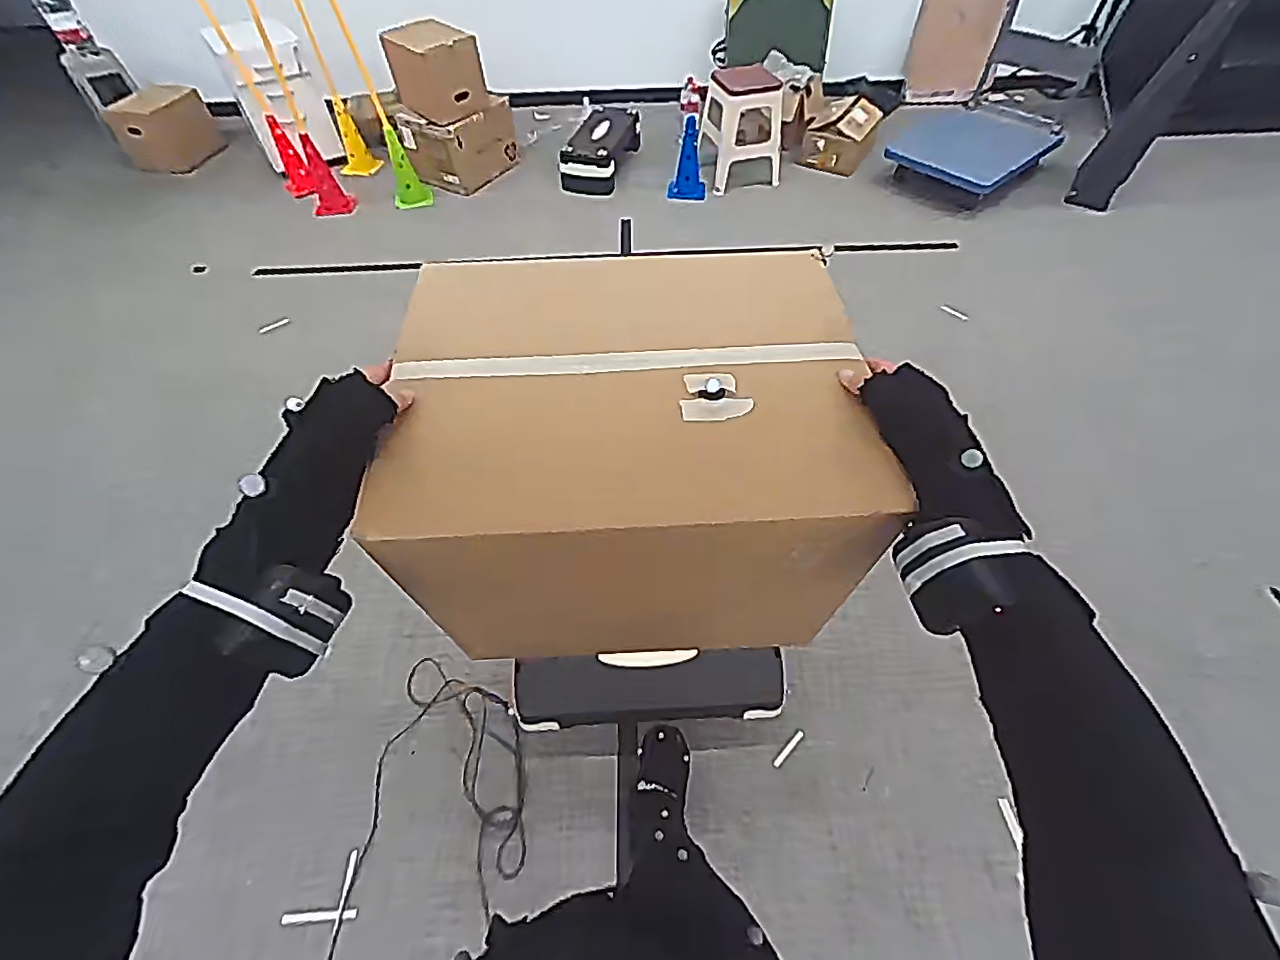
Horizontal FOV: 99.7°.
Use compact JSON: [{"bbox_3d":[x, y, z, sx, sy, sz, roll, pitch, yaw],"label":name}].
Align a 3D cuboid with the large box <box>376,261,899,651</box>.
[{"bbox_3d":[-0.008,-0.015,0.608,0.408,0.320,0.320,-2,57,-1],"label":"large box"}]
